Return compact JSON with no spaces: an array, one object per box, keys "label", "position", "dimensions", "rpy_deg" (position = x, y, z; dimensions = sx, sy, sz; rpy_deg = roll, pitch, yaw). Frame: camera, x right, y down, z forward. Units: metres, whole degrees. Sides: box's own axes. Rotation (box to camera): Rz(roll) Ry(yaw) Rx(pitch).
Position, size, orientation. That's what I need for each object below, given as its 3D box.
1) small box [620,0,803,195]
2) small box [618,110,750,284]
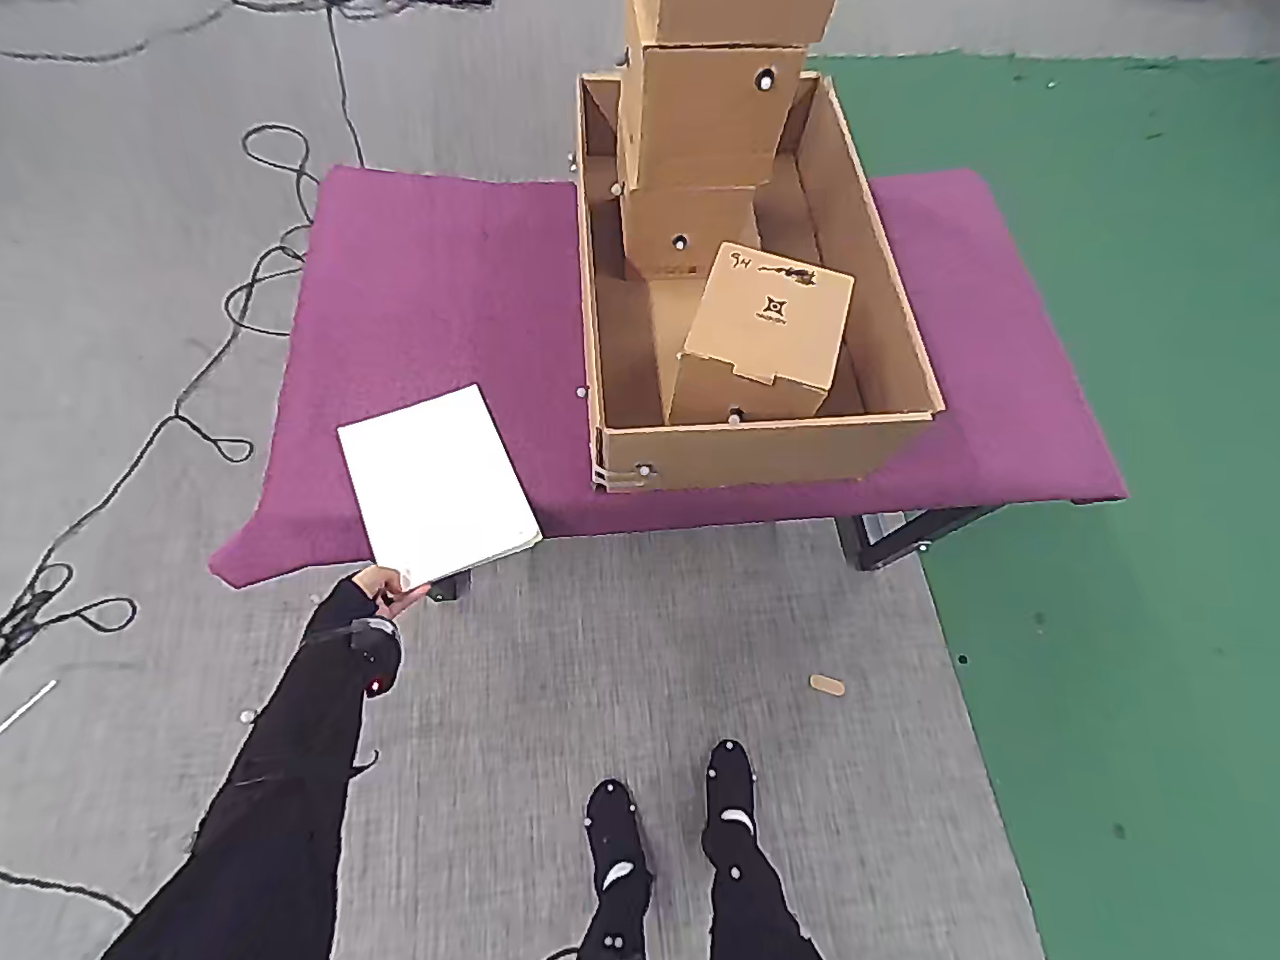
[{"label":"small box","position":[0.069,-0.470,0.651],"dimensions":[0.179,0.176,0.168],"rpy_deg":[-5,68,-6]},{"label":"small box","position":[0.054,-0.411,0.801],"dimensions":[0.168,0.176,0.179],"rpy_deg":[-3,69,-5]}]
